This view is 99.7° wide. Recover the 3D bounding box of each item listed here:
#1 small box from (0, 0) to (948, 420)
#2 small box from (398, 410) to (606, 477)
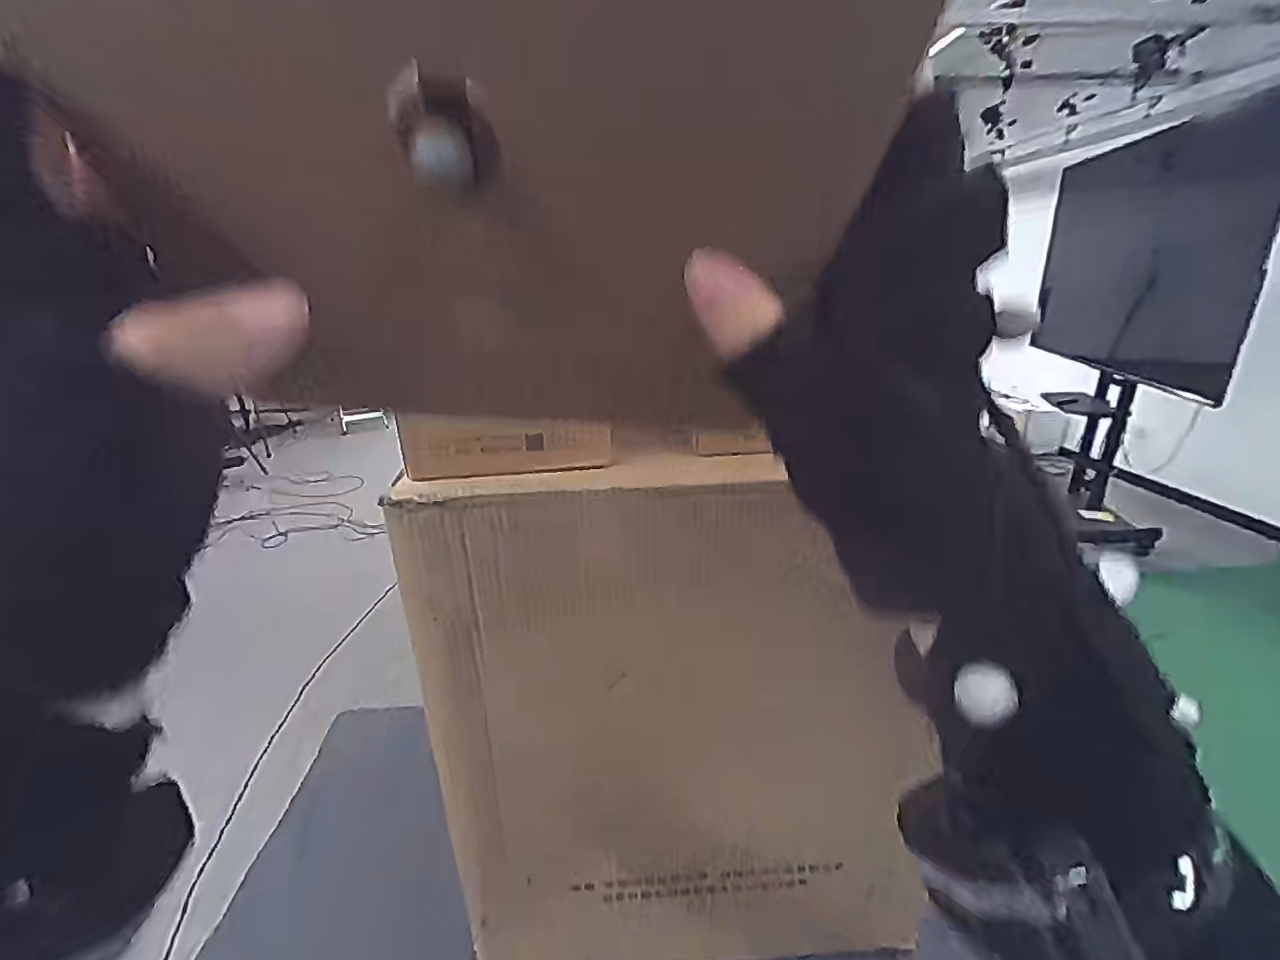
[{"bbox_3d":[-0.040,-0.133,0.174,0.179,0.176,0.168,0,57,-10],"label":"small box"},{"bbox_3d":[-0.121,-0.105,0.496,0.168,0.176,0.179,-3,21,-7],"label":"small box"}]
